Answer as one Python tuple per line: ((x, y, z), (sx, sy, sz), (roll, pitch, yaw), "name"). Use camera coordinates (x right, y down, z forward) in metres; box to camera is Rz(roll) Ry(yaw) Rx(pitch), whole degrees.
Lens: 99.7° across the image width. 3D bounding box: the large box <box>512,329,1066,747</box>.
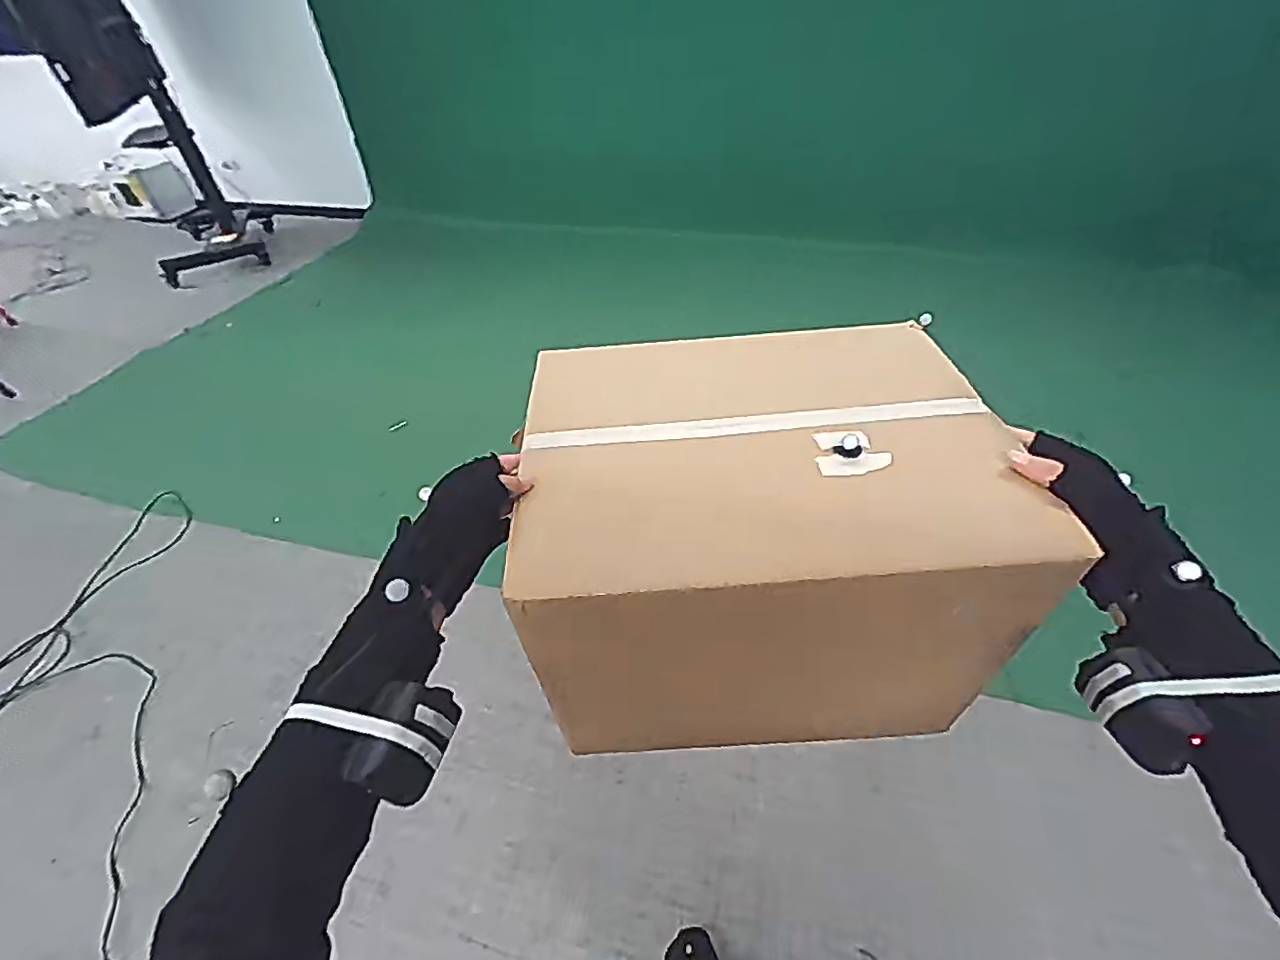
((0.104, 0.064, 0.588), (0.408, 0.320, 0.320), (-5, 46, 1), "large box")
